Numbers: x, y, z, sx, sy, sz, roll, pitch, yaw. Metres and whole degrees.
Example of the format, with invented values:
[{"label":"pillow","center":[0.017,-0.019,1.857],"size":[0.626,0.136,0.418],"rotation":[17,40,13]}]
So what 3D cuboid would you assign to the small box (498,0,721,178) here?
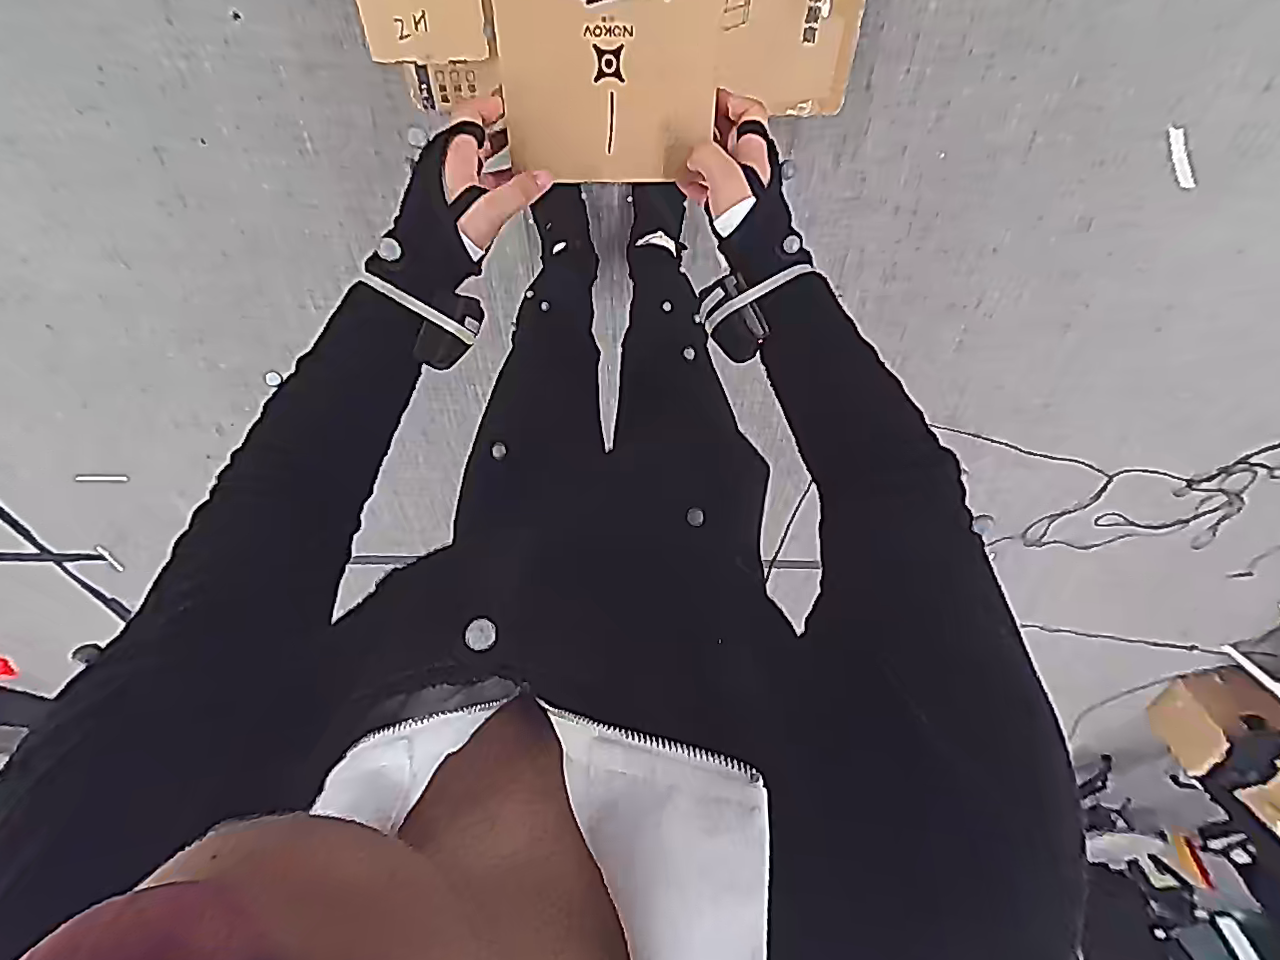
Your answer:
[{"label":"small box","center":[-0.030,-0.371,0.471],"size":[0.168,0.176,0.179],"rotation":[-3,126,-4]}]

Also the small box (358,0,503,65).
[{"label":"small box","center":[-0.288,-0.696,0.751],"size":[0.168,0.176,0.179],"rotation":[0,133,-1]}]
